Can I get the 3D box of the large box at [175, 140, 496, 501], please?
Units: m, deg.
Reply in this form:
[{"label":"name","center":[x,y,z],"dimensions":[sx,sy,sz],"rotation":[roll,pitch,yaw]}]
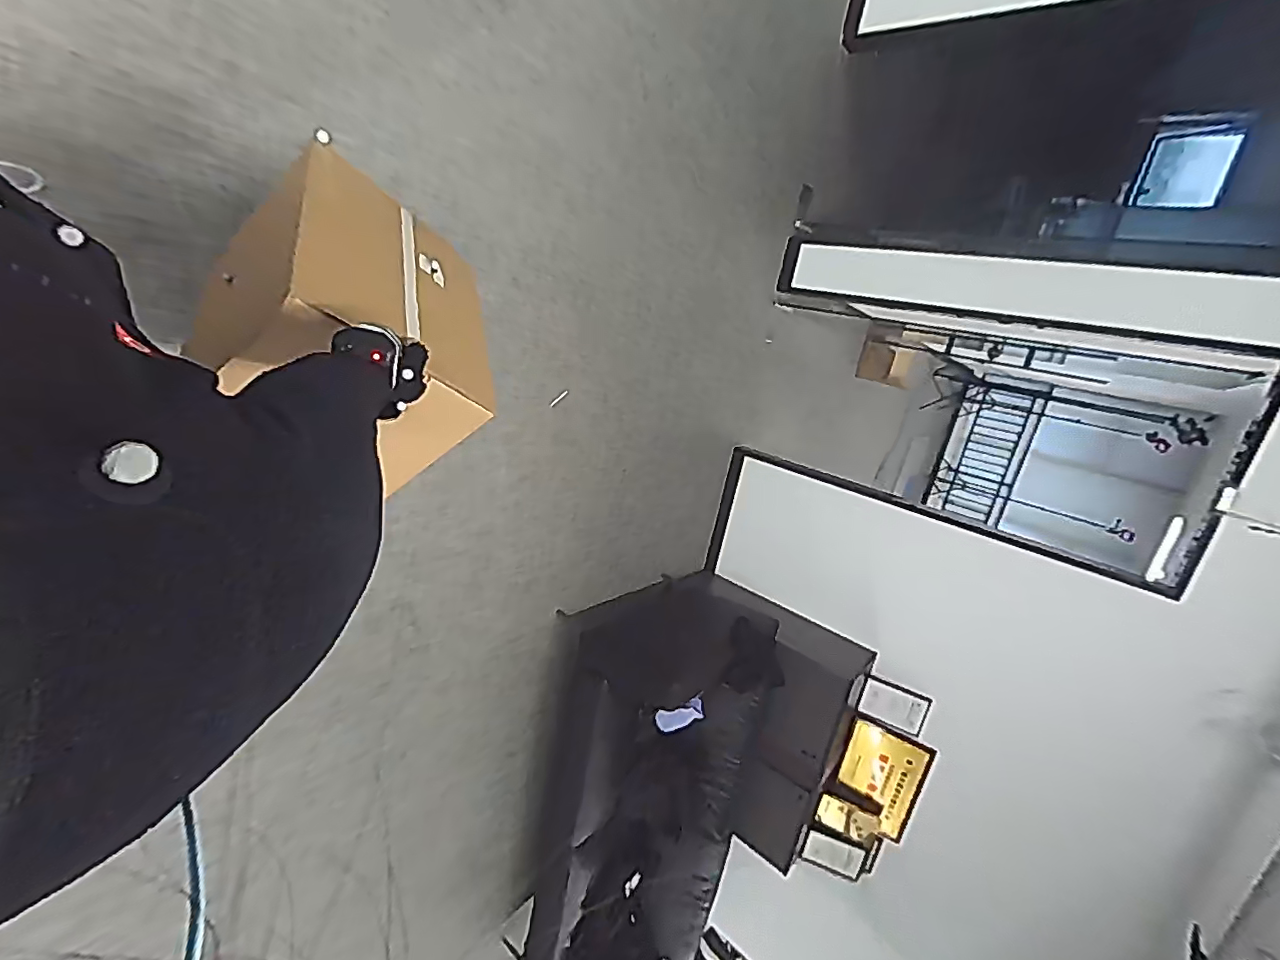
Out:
[{"label":"large box","center":[-0.480,-0.237,0.887],"dimensions":[0.320,0.408,0.320],"rotation":[-32,145,19]}]
